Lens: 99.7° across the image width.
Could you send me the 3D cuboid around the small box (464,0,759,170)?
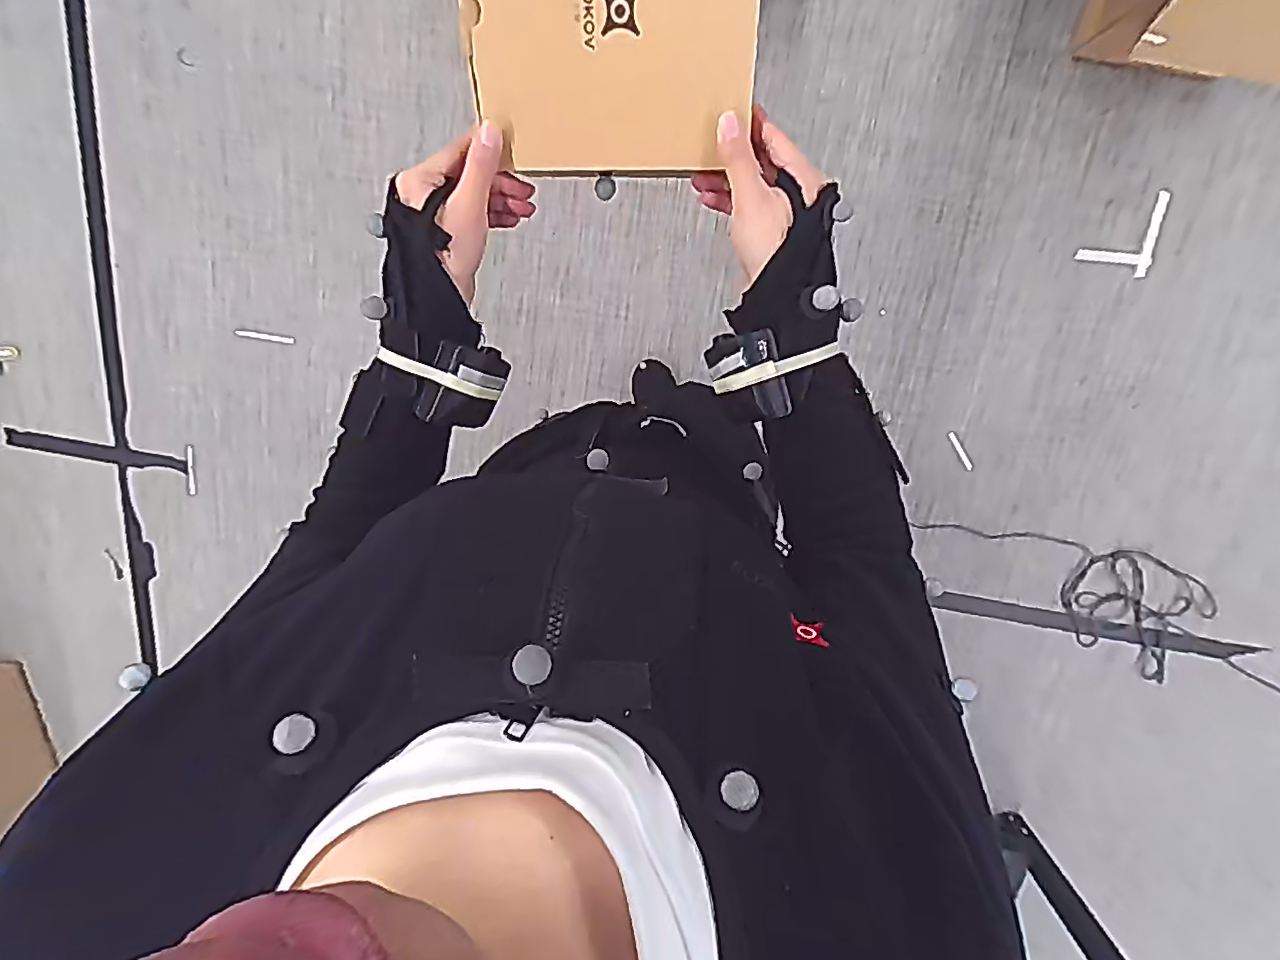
[{"bbox_3d":[-0.018,-0.320,0.385,0.179,0.176,0.168,0,118,0],"label":"small box"}]
